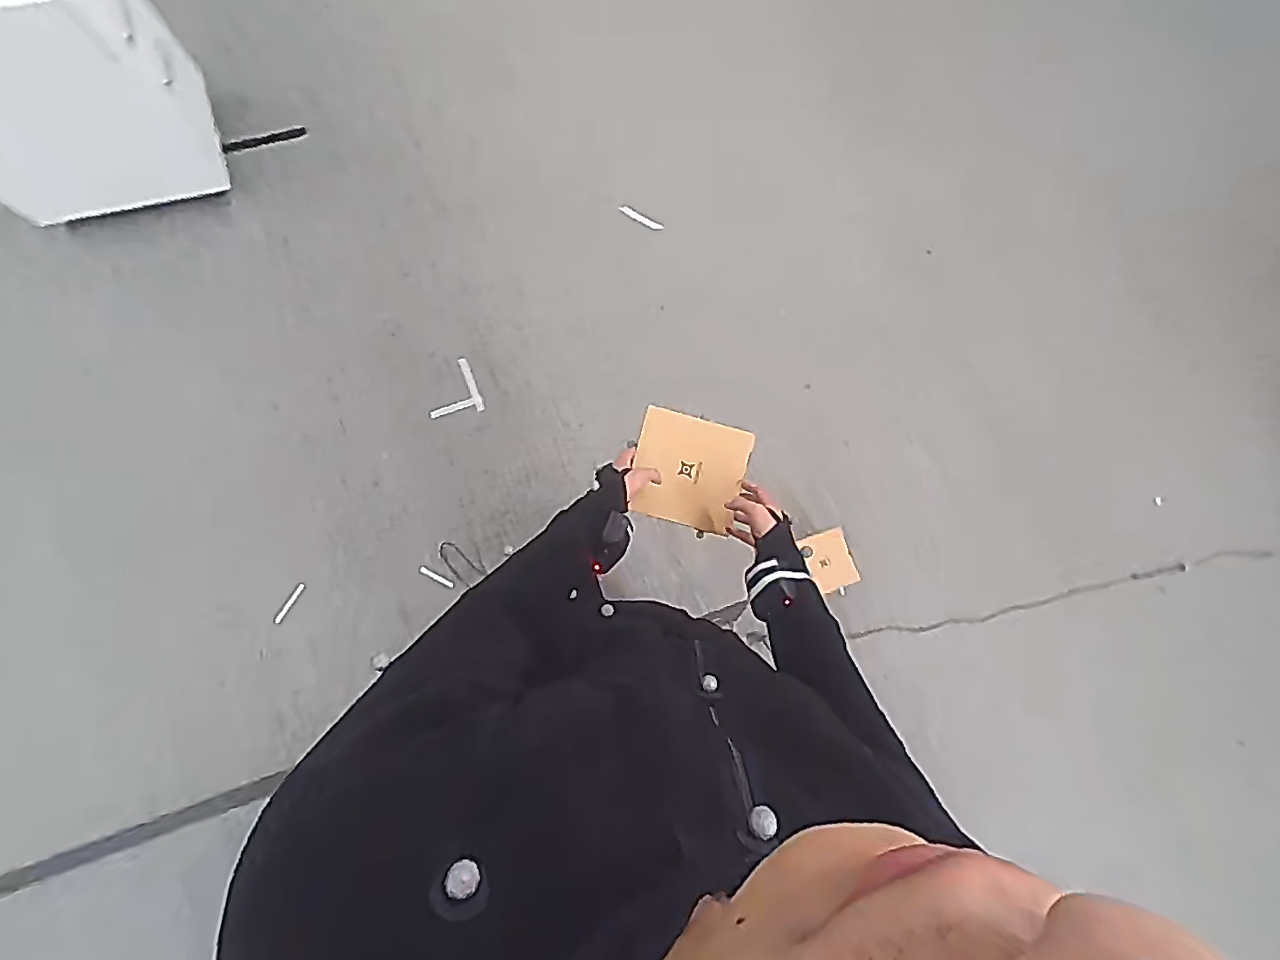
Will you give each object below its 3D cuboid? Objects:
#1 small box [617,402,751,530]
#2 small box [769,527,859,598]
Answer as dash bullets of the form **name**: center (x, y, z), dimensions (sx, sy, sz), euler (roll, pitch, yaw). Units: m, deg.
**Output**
- **small box**: center (0.063, -0.018, 0.904), dimensions (0.179, 0.176, 0.168), euler (14, 88, -4)
- **small box**: center (0.517, 0.246, 1.627), dimensions (0.179, 0.176, 0.168), euler (-18, 84, -9)
